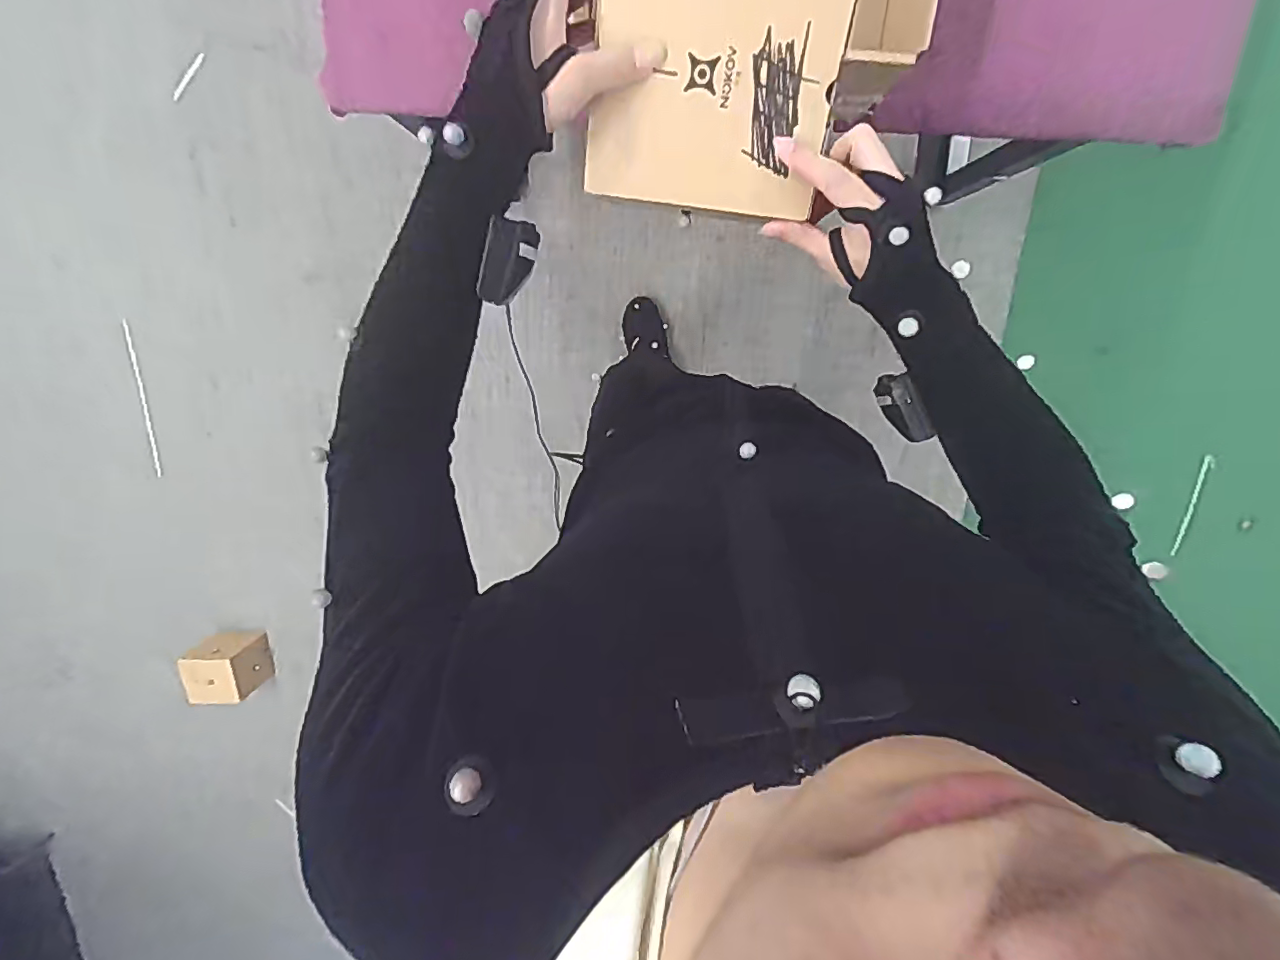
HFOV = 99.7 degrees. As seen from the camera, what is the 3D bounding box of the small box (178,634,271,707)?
[{"bbox_3d":[-1.365,0.628,1.794,0.179,0.176,0.168,0,105,3],"label":"small box"}]
